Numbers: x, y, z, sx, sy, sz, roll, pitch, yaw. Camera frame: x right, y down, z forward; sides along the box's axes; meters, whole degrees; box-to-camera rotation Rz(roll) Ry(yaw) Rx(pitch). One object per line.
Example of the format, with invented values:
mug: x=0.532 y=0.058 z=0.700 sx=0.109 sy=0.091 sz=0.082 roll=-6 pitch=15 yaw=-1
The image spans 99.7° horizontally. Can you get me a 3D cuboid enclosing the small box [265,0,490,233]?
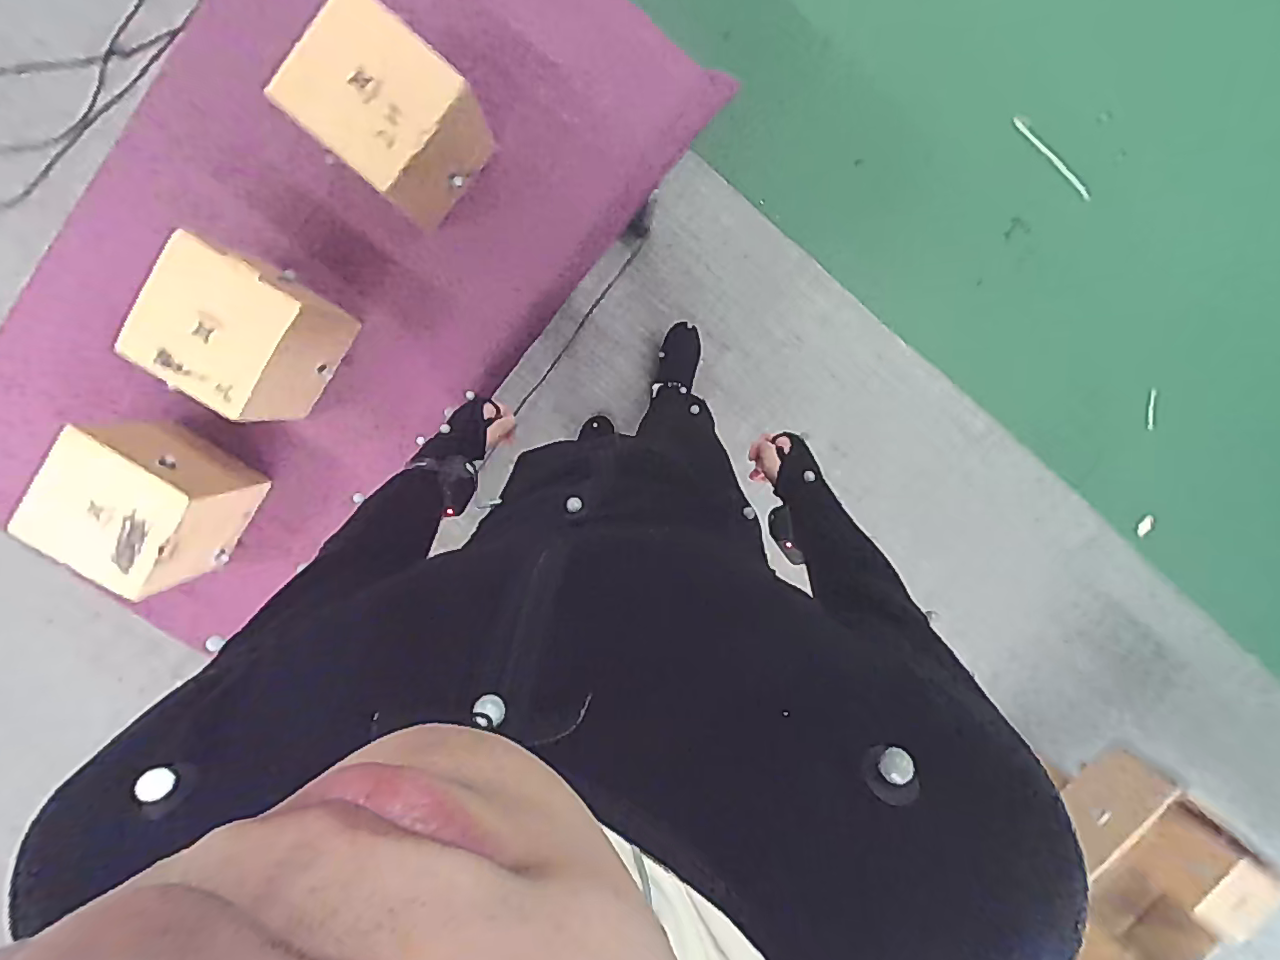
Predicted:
small box: x=-0.331 y=-0.467 z=0.721 sx=0.179 sy=0.176 sz=0.168 roll=39 pitch=95 yaw=-7

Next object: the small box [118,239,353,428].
small box: x=-0.535 y=-0.190 z=0.749 sx=0.168 sy=0.176 sz=0.179 roll=33 pitch=95 yaw=-7

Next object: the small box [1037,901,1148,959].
small box: x=1.157 y=1.210 z=1.344 sx=0.179 sy=0.176 sz=0.168 roll=39 pitch=95 yaw=-6

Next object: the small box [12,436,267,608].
small box: x=-0.690 y=0.046 z=0.771 sx=0.179 sy=0.176 sz=0.168 roll=33 pitch=94 yaw=-6
